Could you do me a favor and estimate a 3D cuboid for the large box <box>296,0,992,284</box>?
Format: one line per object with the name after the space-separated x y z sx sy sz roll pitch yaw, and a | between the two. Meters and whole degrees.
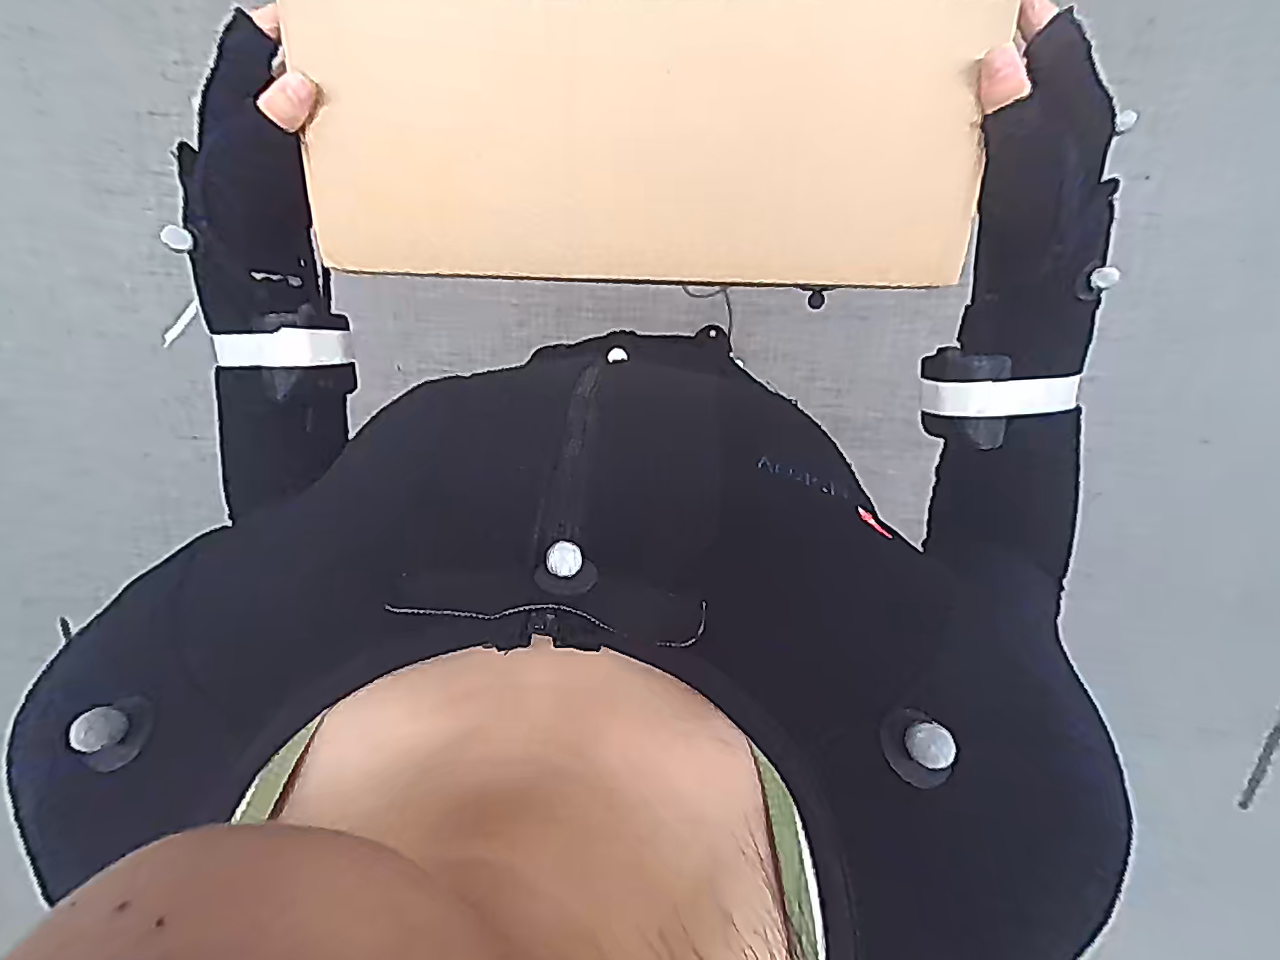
0.006 -0.332 0.442 0.408 0.320 0.320 2 110 1 | large box
